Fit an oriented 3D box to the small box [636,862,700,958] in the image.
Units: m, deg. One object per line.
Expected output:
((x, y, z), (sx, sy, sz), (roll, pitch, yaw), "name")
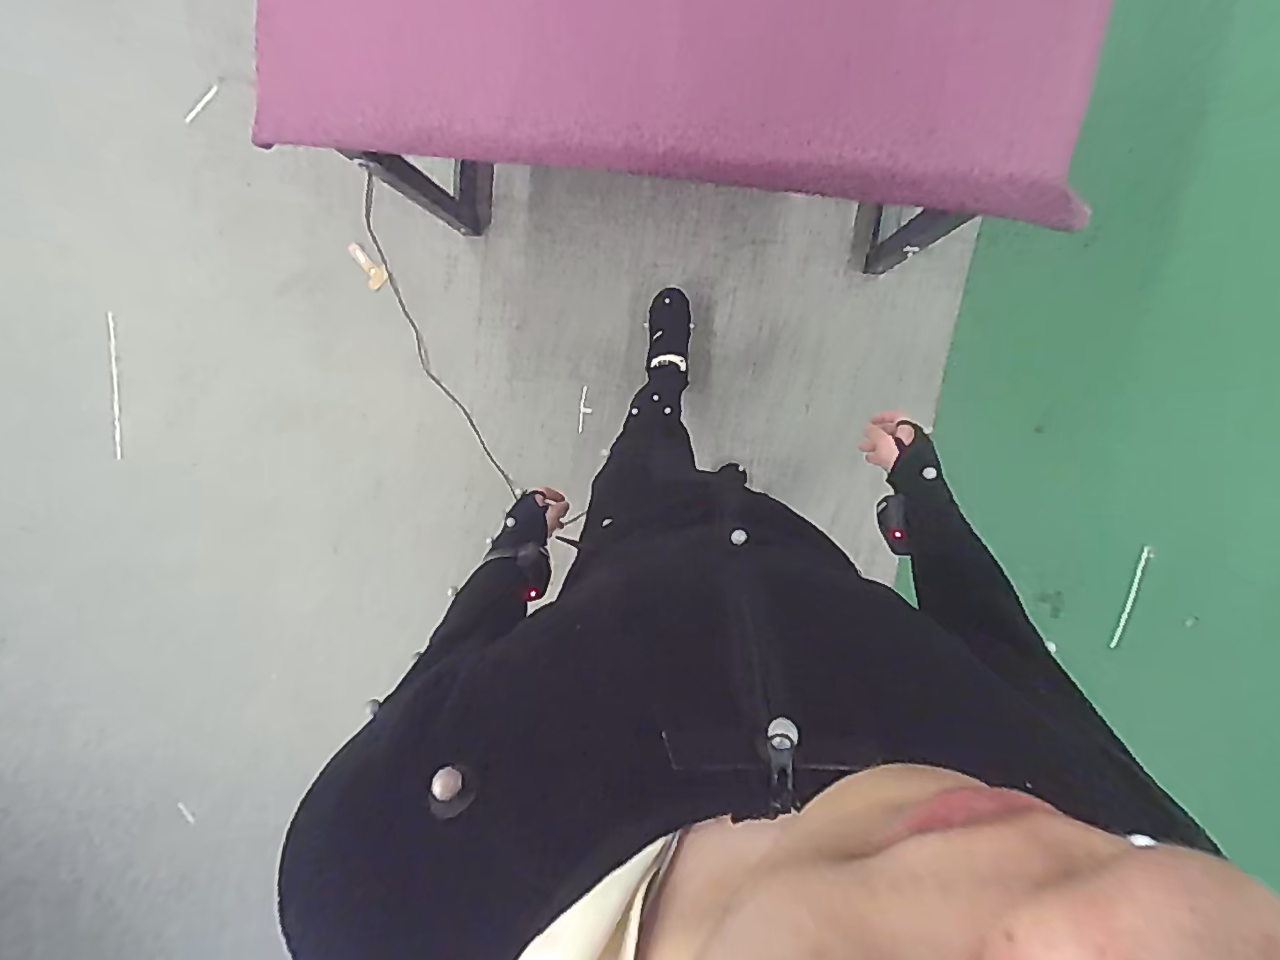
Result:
((0.092, 1.390, 1.758), (0.179, 0.176, 0.168), (12, 100, 2), "small box")
